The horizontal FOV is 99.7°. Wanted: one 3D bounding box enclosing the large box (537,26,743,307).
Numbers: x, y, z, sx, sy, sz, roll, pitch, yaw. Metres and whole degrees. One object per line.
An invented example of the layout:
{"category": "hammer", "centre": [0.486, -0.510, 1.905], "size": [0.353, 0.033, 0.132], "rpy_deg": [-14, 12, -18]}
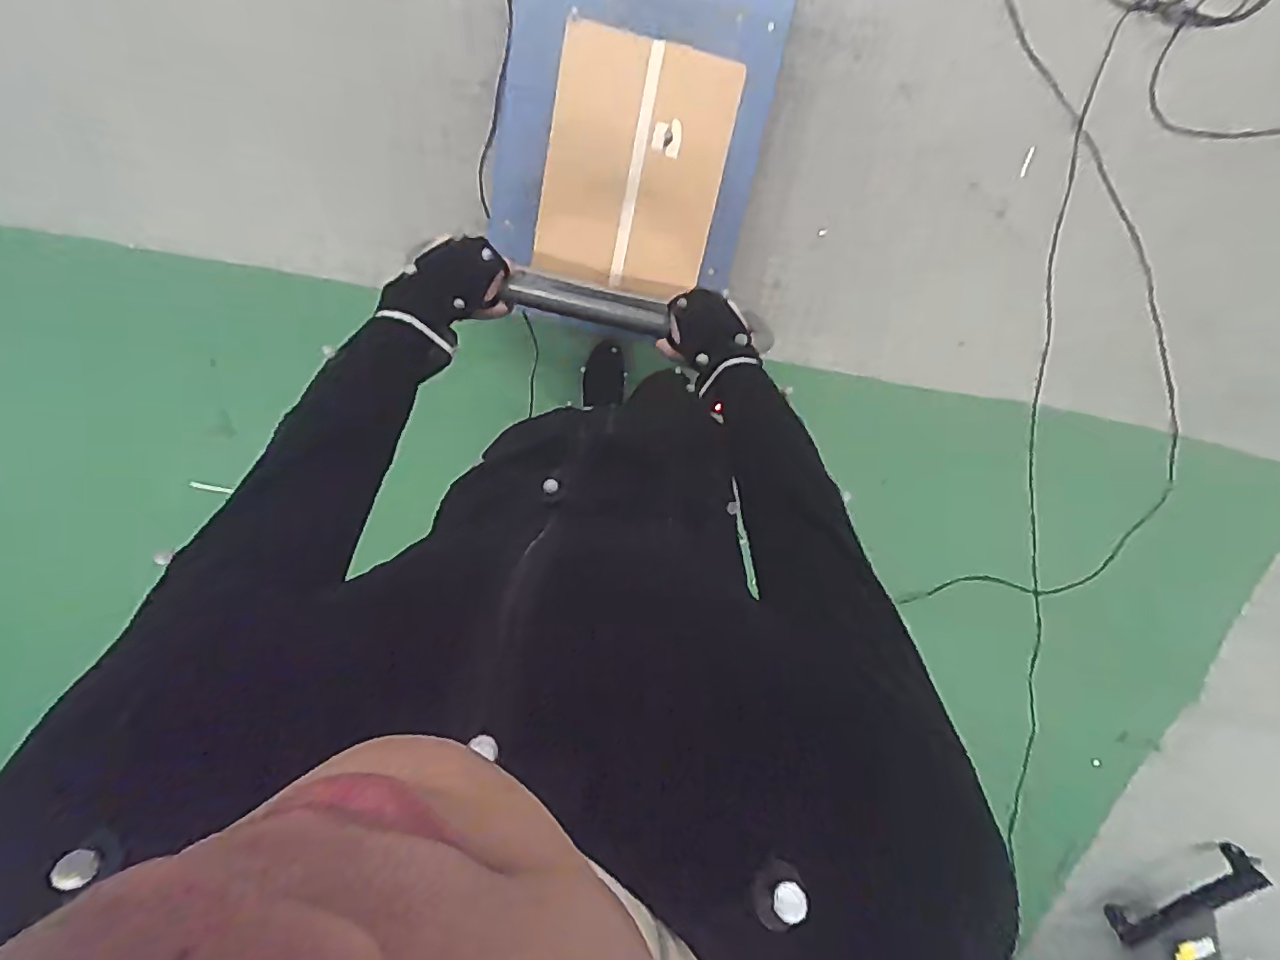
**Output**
{"category": "large box", "centre": [-0.013, -0.589, 1.112], "size": [0.320, 0.320, 0.408], "rpy_deg": [11, 107, -7]}
